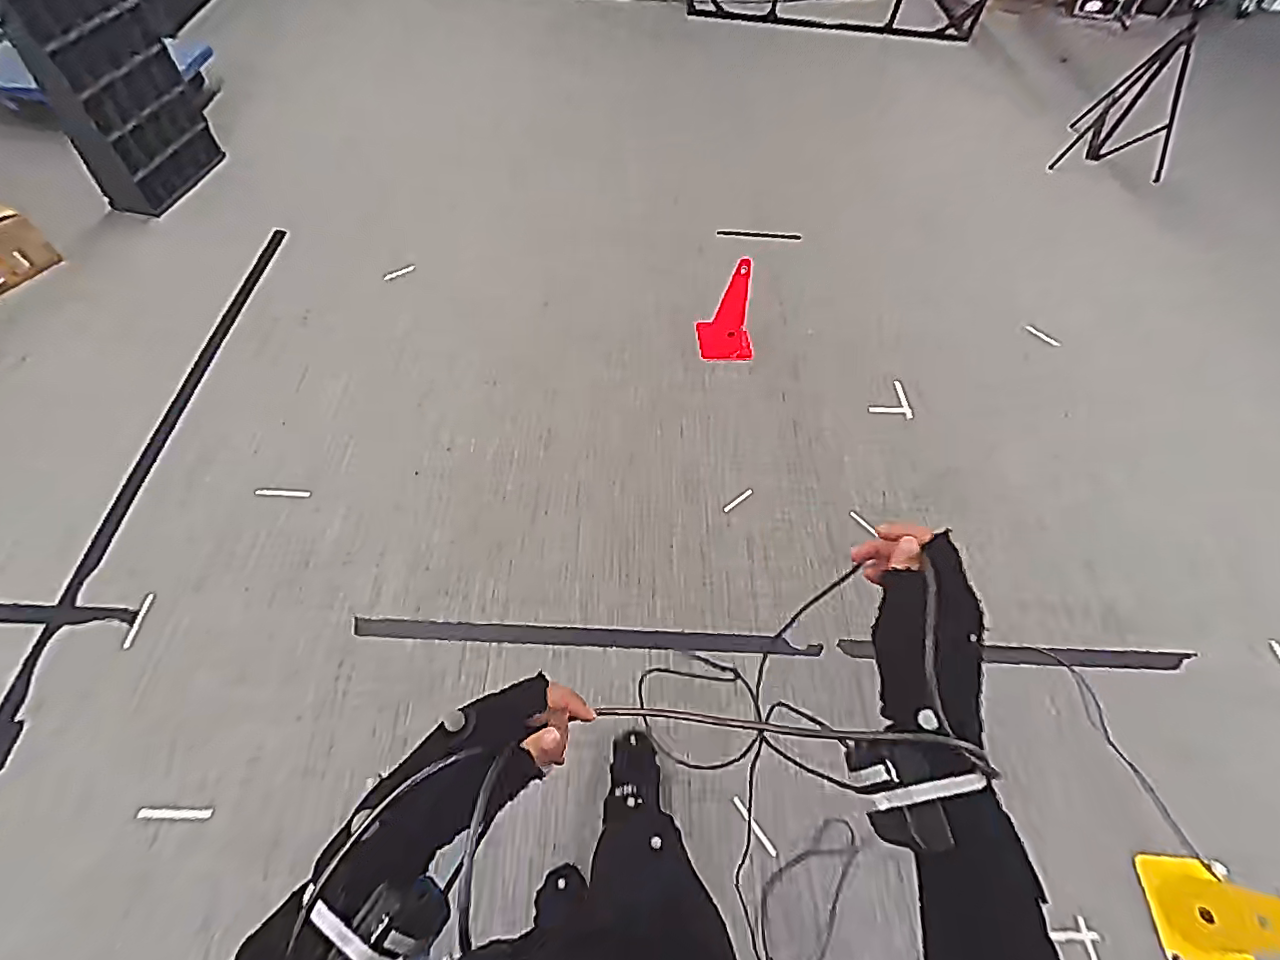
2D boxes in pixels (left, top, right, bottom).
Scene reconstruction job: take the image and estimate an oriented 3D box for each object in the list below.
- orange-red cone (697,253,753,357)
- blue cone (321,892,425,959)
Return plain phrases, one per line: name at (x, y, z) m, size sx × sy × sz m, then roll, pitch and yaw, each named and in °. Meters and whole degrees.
orange-red cone at (0.327, -0.627, 1.895) m, size 0.199 × 0.360 × 0.198 m, roll -2°, pitch 58°, yaw -4°
blue cone at (-0.512, 0.848, 0.918) m, size 0.193 × 0.380 × 0.192 m, roll -2°, pitch 58°, yaw -6°
